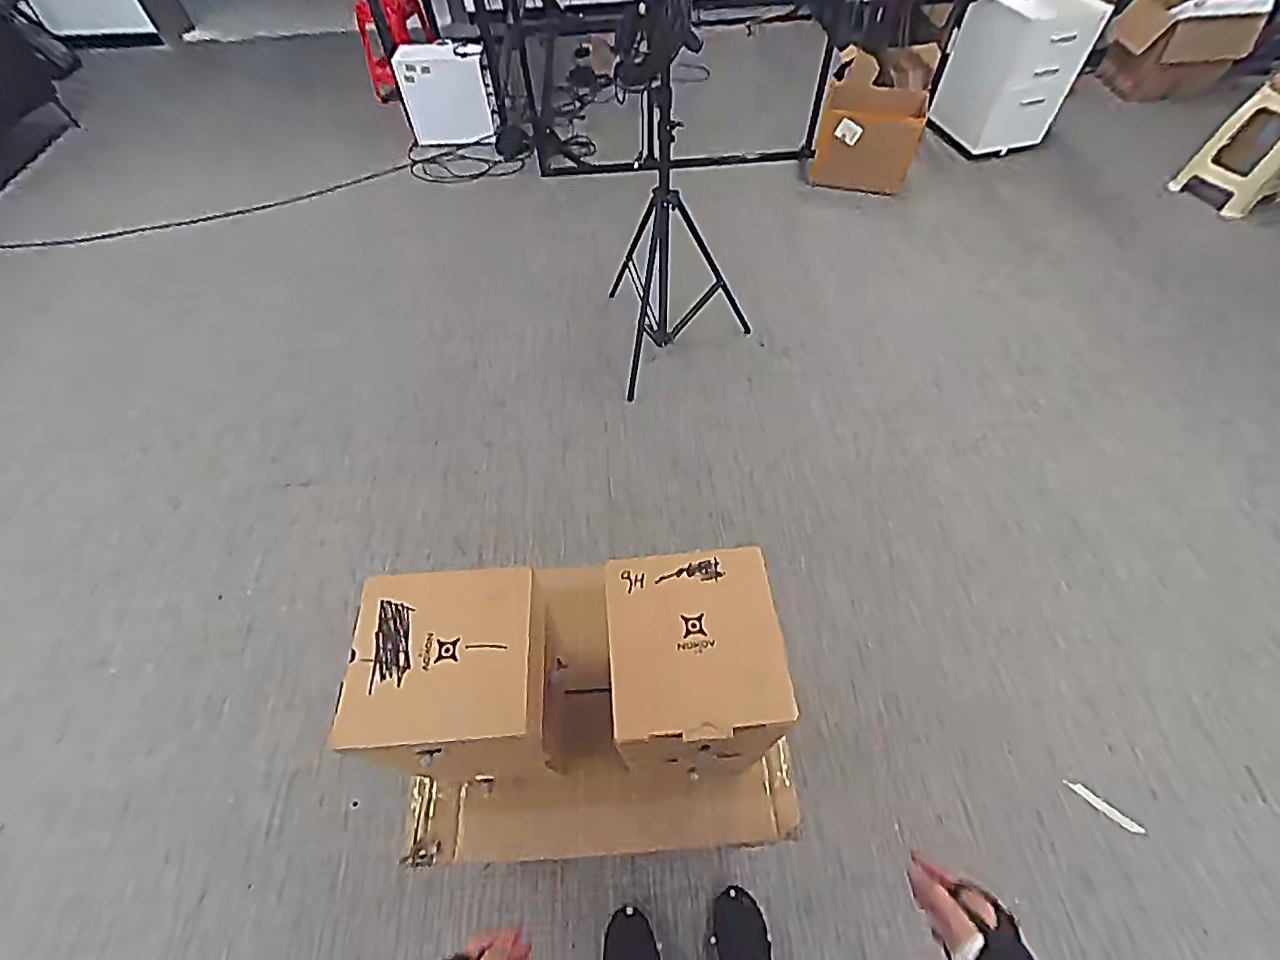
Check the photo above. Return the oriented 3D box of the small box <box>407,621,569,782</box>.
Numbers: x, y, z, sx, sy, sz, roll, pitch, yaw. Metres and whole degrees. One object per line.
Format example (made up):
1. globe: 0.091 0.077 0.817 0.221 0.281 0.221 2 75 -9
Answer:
1. small box: -0.191 0.299 0.732 0.168 0.176 0.179 -4 58 -1

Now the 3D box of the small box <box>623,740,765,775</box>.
1. small box: 0.062 0.286 0.729 0.168 0.176 0.179 -5 57 1

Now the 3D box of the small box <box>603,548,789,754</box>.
1. small box: 0.053 0.195 0.593 0.168 0.176 0.179 -6 57 0

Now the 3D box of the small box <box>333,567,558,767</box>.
1. small box: -0.192 0.210 0.594 0.179 0.176 0.168 -4 57 -2
